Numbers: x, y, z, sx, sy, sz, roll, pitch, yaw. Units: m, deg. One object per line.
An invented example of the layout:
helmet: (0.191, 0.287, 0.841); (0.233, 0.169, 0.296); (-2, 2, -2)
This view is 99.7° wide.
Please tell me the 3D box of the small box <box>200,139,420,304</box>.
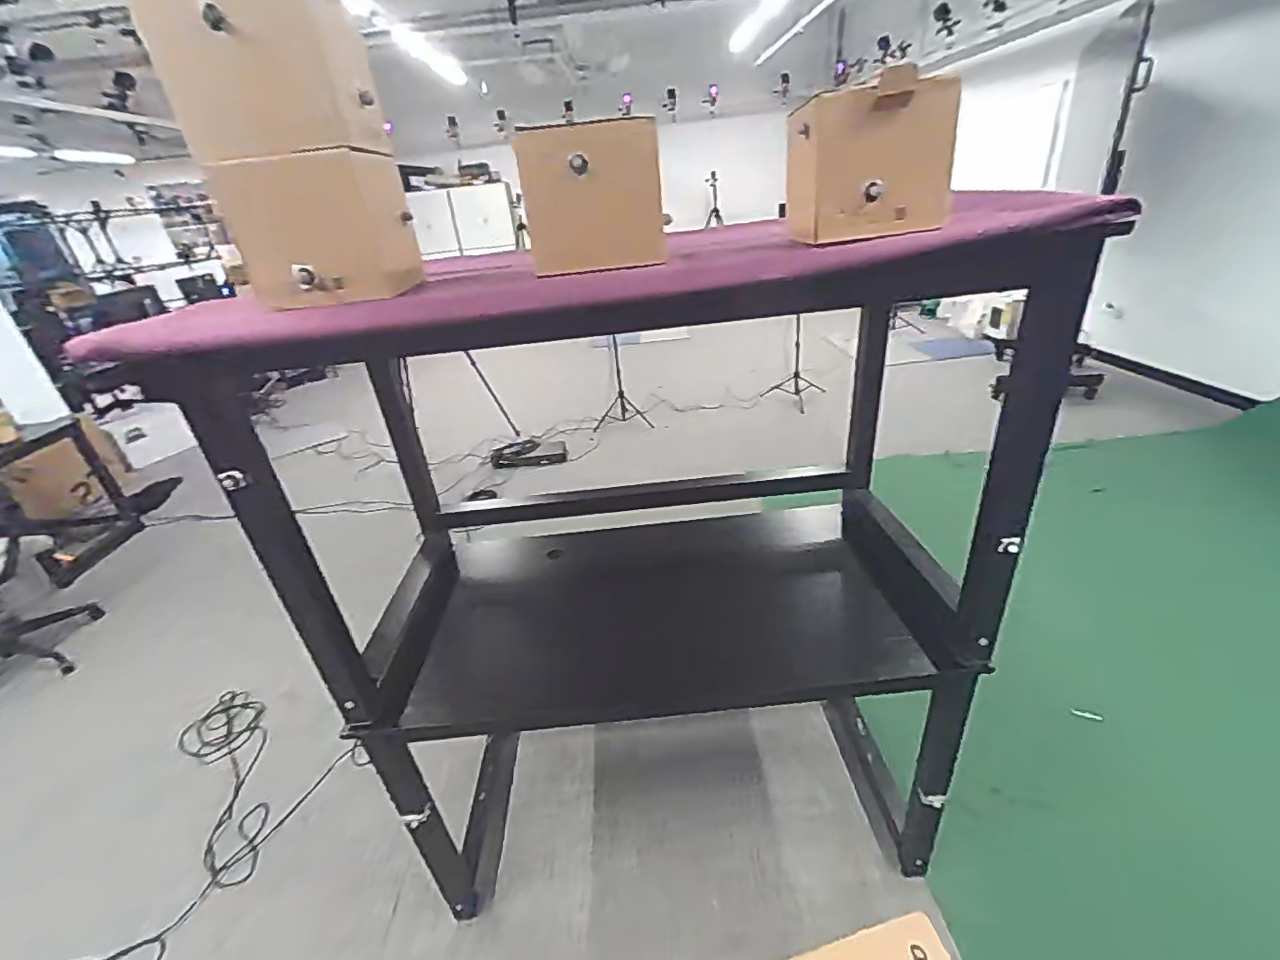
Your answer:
small box: (-0.409, -0.337, 0.712); (0.168, 0.176, 0.179); (-9, 30, -2)

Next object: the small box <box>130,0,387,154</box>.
small box: (-0.433, -0.481, 0.635); (0.179, 0.176, 0.168); (-9, 29, -2)

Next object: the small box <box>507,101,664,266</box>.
small box: (-0.064, -0.393, 0.737); (0.179, 0.176, 0.168); (-5, 27, 1)

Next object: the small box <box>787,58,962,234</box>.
small box: (0.294, -0.429, 0.723); (0.168, 0.176, 0.179); (-6, 26, 4)
